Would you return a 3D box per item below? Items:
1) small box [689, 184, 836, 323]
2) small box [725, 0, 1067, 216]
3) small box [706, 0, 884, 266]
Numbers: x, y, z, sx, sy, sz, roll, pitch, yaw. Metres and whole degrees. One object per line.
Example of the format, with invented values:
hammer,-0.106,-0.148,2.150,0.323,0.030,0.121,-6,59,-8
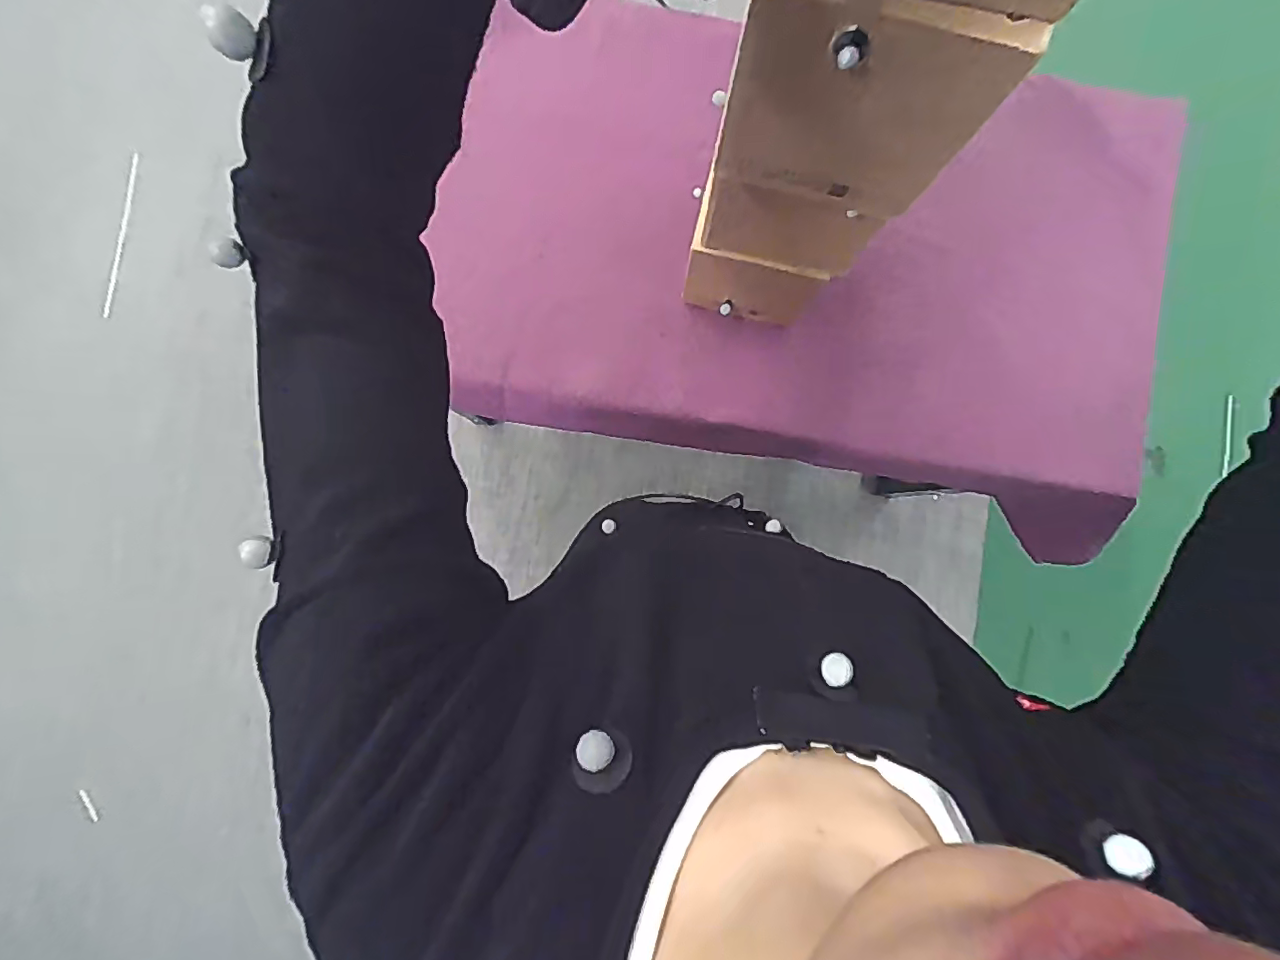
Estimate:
small box,0.164,-0.330,0.703,0.168,0.176,0.179,14,87,2
small box,0.166,-0.326,0.377,0.168,0.176,0.179,15,86,1
small box,0.170,-0.339,0.542,0.179,0.176,0.168,12,87,1
